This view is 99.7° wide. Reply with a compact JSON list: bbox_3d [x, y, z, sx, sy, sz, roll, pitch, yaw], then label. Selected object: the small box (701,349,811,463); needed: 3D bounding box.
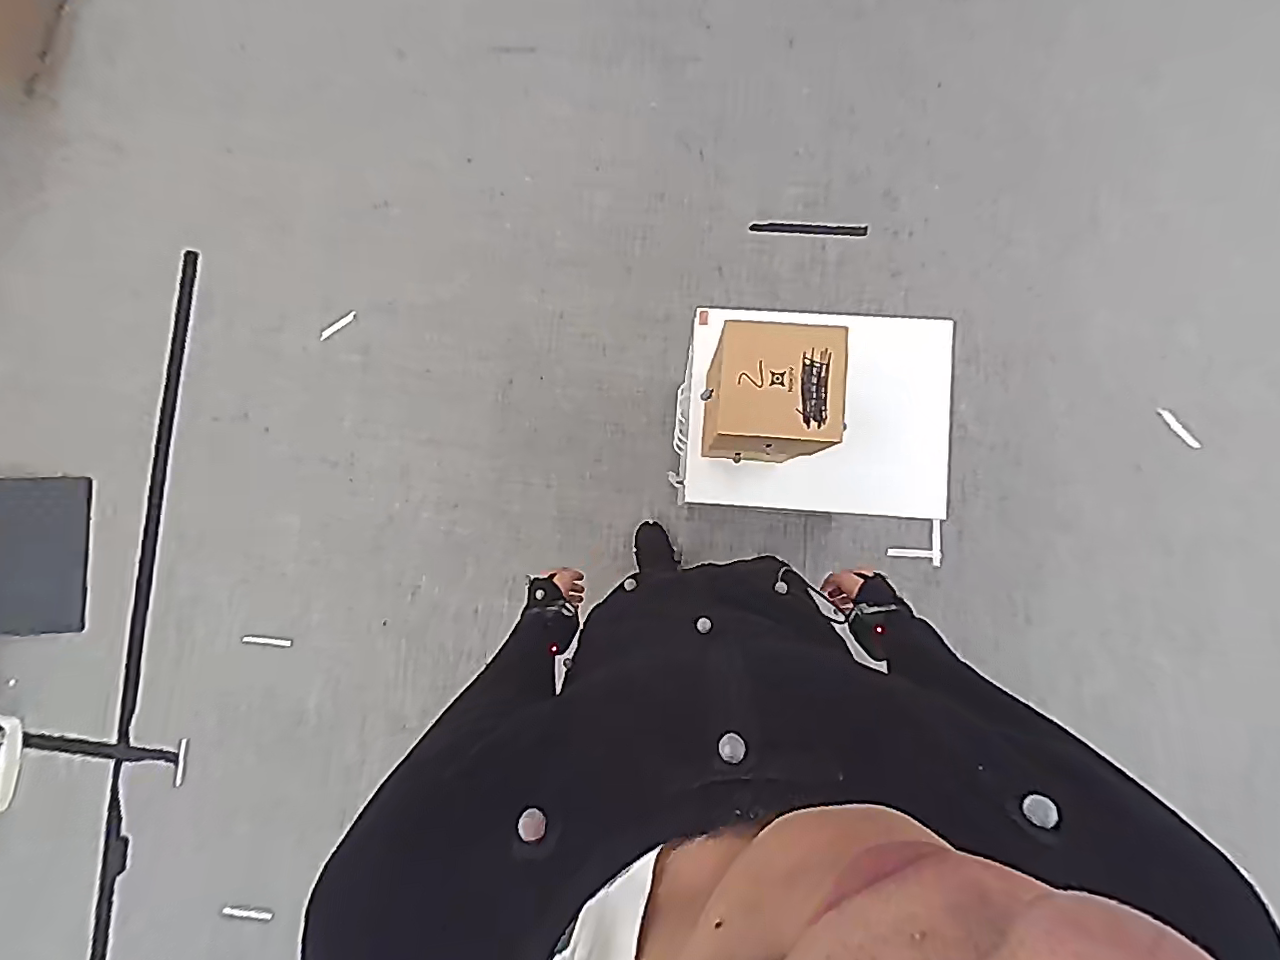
[{"bbox_3d":[0.205,-0.127,0.996,0.168,0.176,0.179,5,86,2],"label":"small box"}]
